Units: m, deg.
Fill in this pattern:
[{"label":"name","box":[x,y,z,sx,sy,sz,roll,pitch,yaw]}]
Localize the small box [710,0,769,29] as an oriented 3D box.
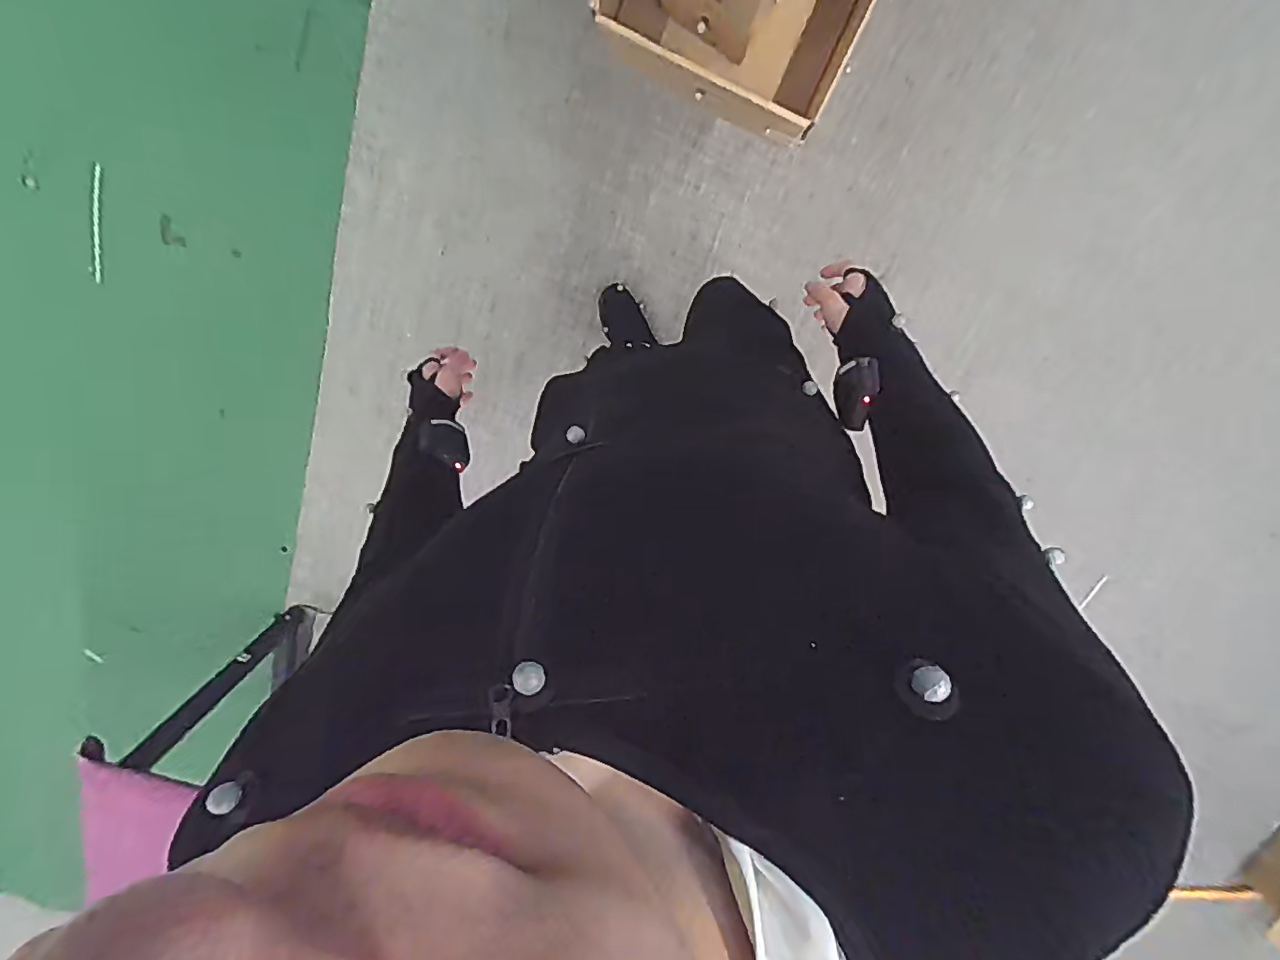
[{"label":"small box","box":[0.133,-0.732,0.681,0.168,0.176,0.179,32,108,-10]}]
